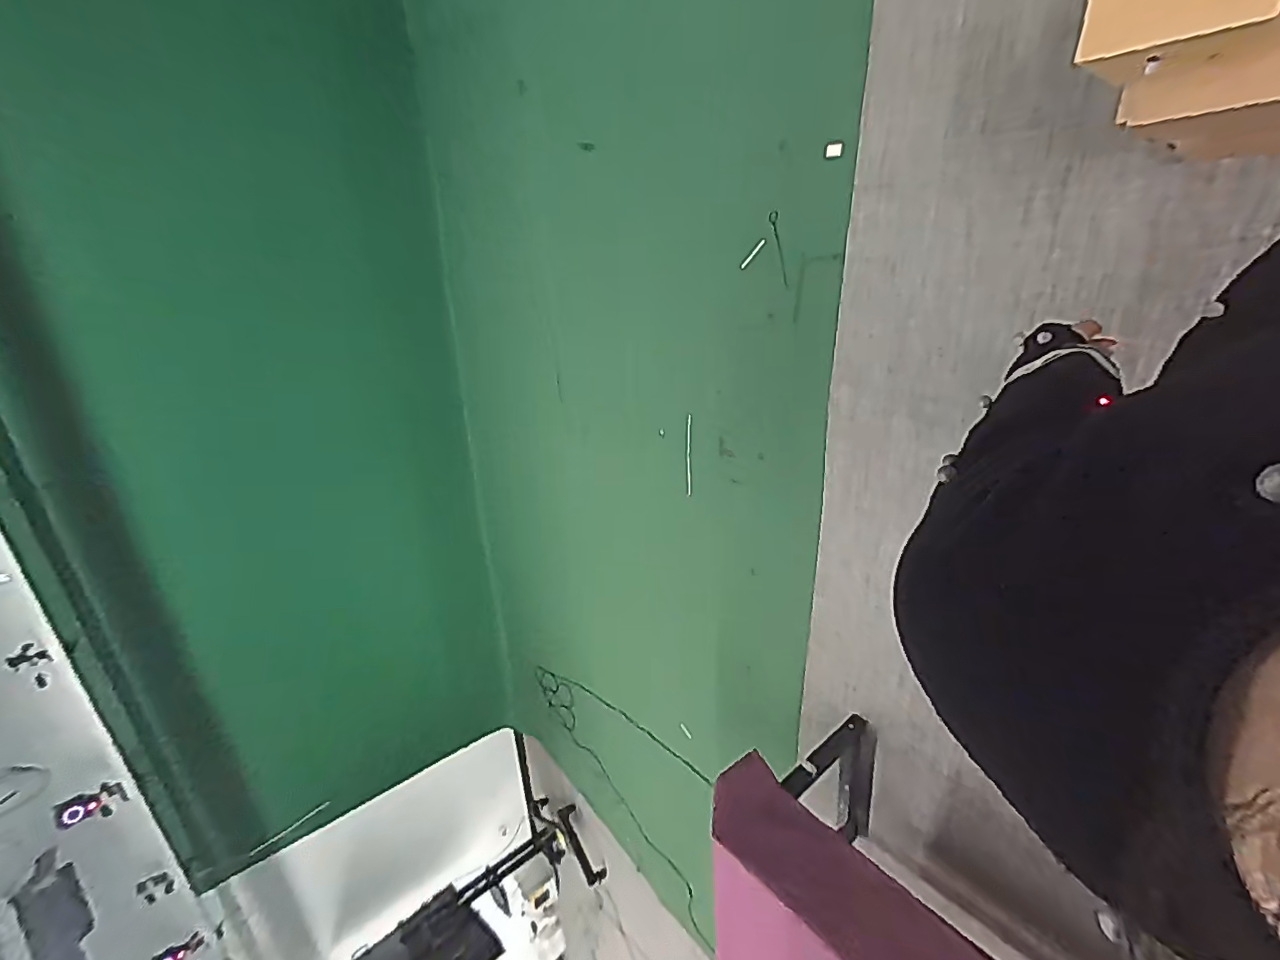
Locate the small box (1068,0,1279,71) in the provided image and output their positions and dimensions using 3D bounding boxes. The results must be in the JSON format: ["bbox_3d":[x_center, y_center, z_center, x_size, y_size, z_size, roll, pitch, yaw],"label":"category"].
[{"bbox_3d":[0.622,-0.582,0.602,0.168,0.176,0.179,23,124,45],"label":"small box"}]
